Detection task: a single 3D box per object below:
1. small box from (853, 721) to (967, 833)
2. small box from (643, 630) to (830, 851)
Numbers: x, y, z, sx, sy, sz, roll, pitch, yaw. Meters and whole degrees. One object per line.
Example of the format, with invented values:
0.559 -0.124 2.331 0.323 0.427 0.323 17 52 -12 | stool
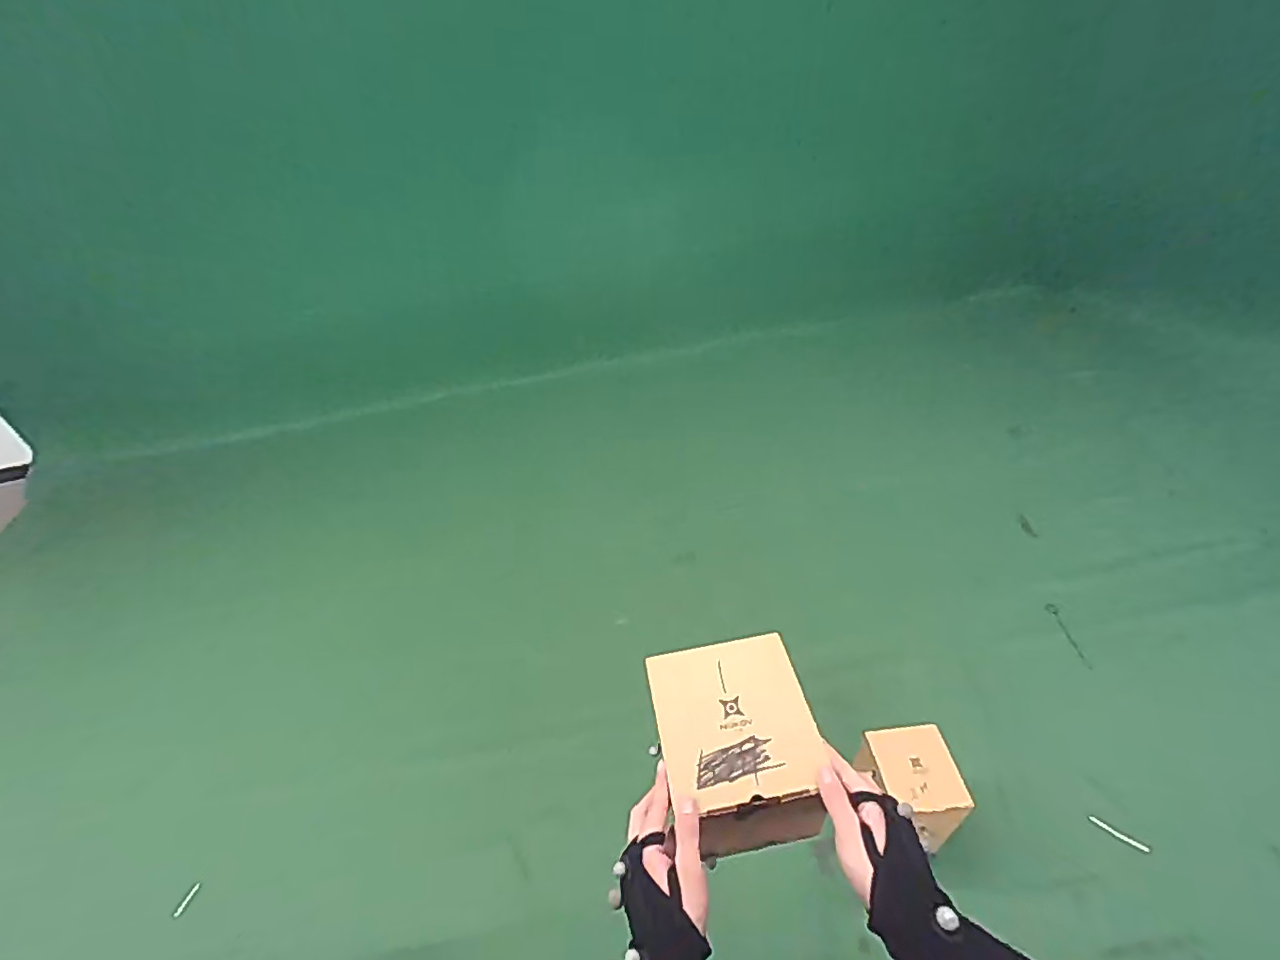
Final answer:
0.608 0.684 1.248 0.168 0.176 0.179 -7 42 1 | small box
0.103 0.309 0.635 0.168 0.176 0.179 -9 41 -4 | small box
